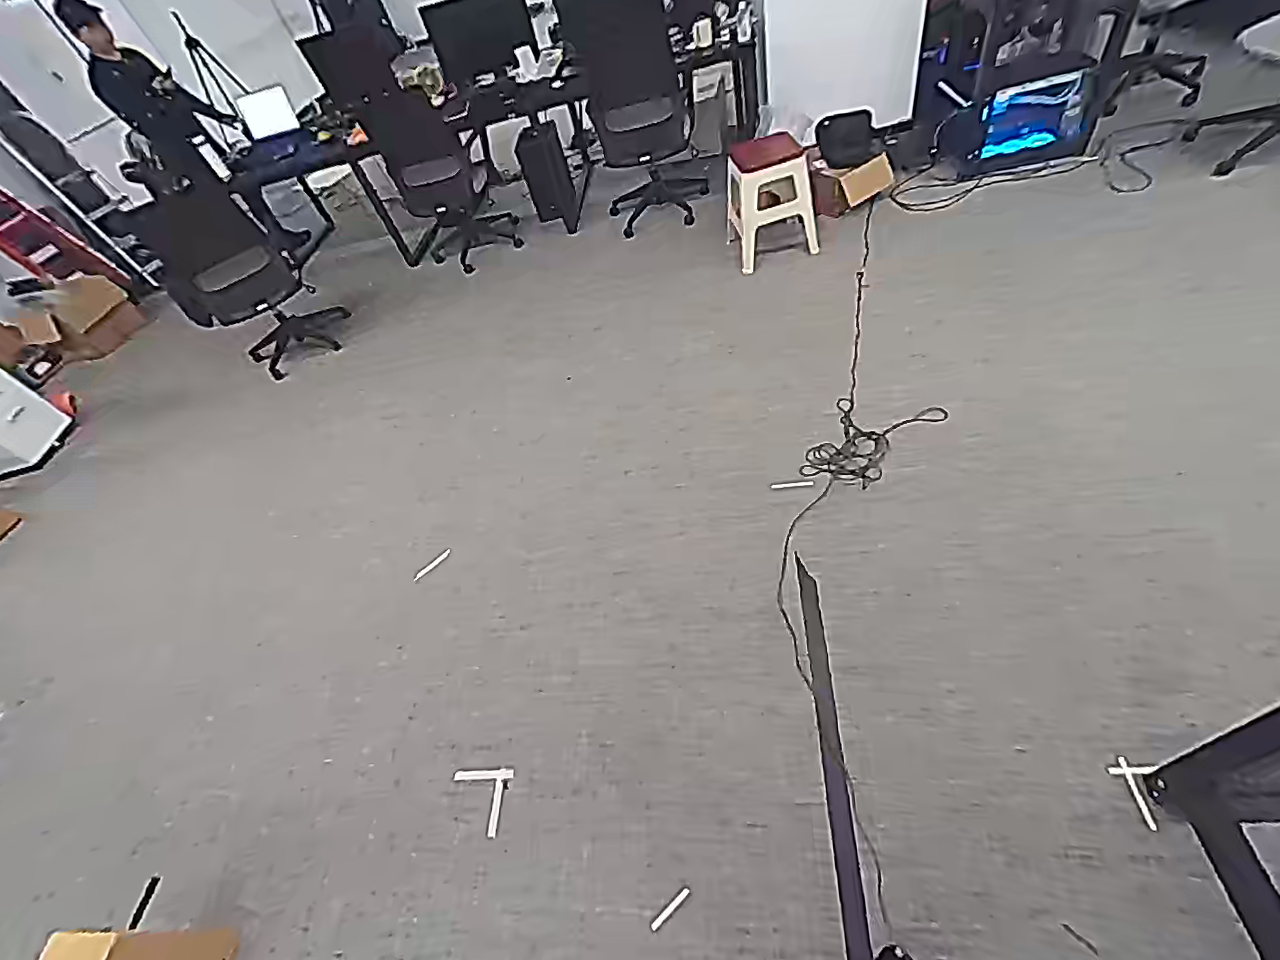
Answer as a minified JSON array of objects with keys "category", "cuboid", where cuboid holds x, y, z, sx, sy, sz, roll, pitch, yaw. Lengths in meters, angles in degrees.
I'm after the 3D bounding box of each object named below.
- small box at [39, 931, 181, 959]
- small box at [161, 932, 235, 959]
[{"category":"small box","cuboid":[-1.148,1.064,1.143,0.179,0.176,0.168,-8,49,10]},{"category":"small box","cuboid":[-1.109,1.166,1.264,0.179,0.176,0.168,-10,48,10]}]
